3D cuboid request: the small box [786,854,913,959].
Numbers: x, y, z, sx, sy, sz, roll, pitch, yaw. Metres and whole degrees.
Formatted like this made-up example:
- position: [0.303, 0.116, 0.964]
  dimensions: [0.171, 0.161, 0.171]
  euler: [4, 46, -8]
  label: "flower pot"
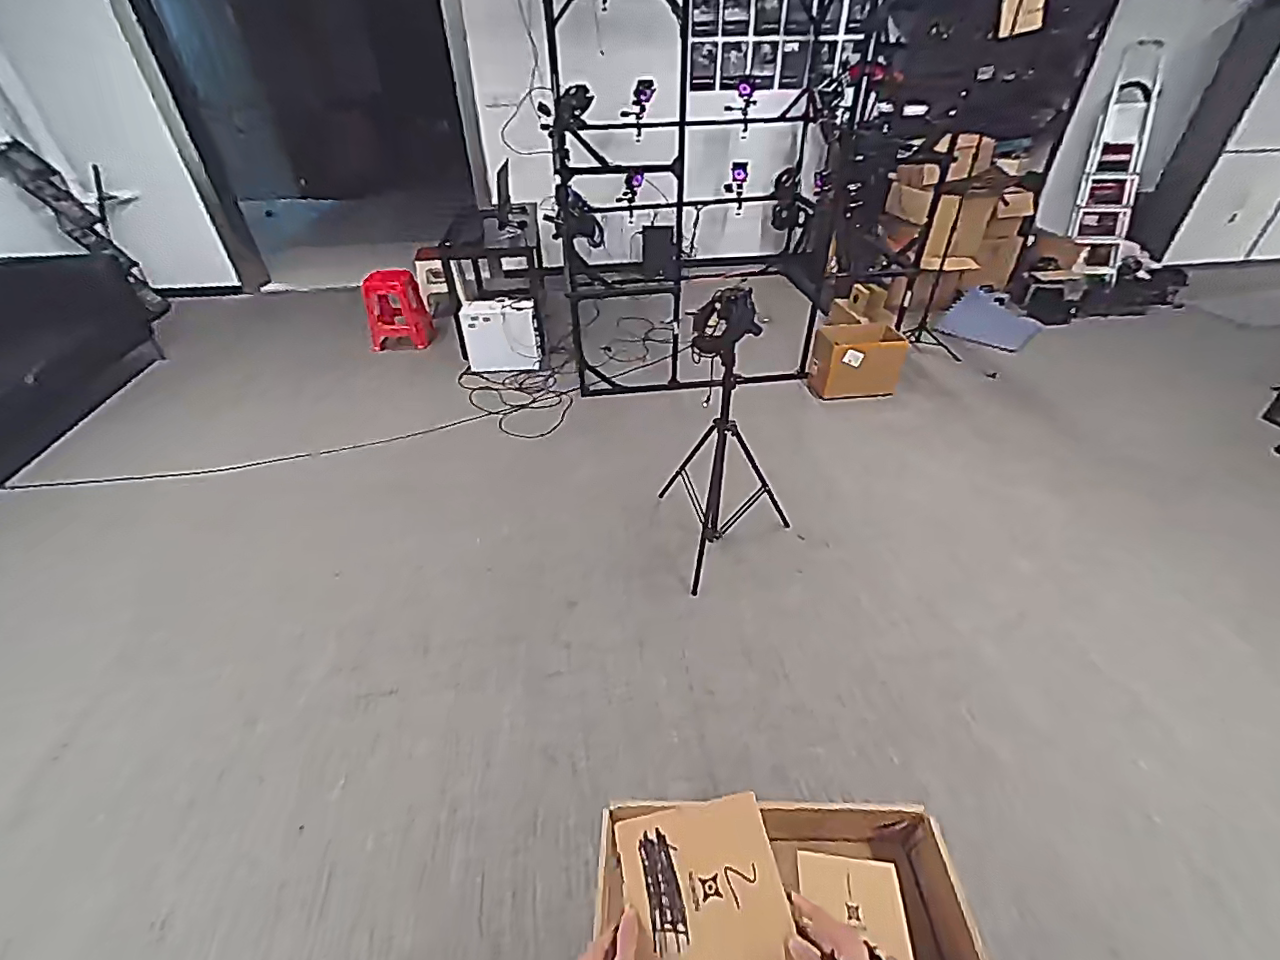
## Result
- position: [0.342, 0.766, 0.902]
  dimensions: [0.168, 0.176, 0.179]
  euler: [4, 37, 7]
  label: "small box"
